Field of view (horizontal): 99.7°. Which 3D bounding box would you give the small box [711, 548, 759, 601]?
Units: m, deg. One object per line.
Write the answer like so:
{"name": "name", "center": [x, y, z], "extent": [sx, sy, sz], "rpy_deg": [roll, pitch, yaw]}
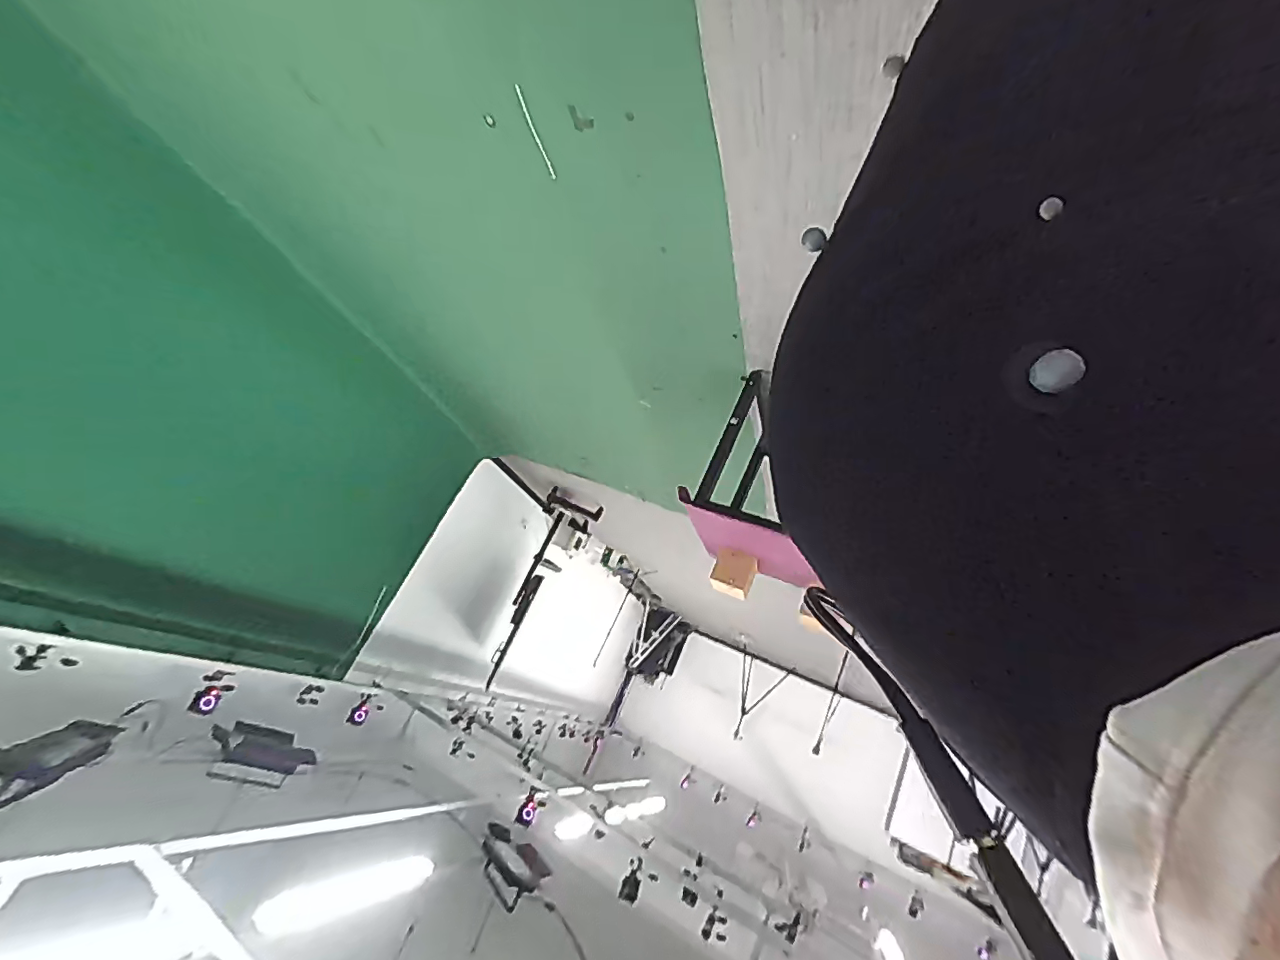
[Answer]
{"name": "small box", "center": [0.442, 0.435, 2.495], "extent": [0.168, 0.176, 0.179], "rpy_deg": [17, 160, 22]}

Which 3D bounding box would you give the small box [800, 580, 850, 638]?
{"name": "small box", "center": [0.803, 0.556, 2.339], "extent": [0.168, 0.176, 0.179], "rpy_deg": [16, 158, 25]}
